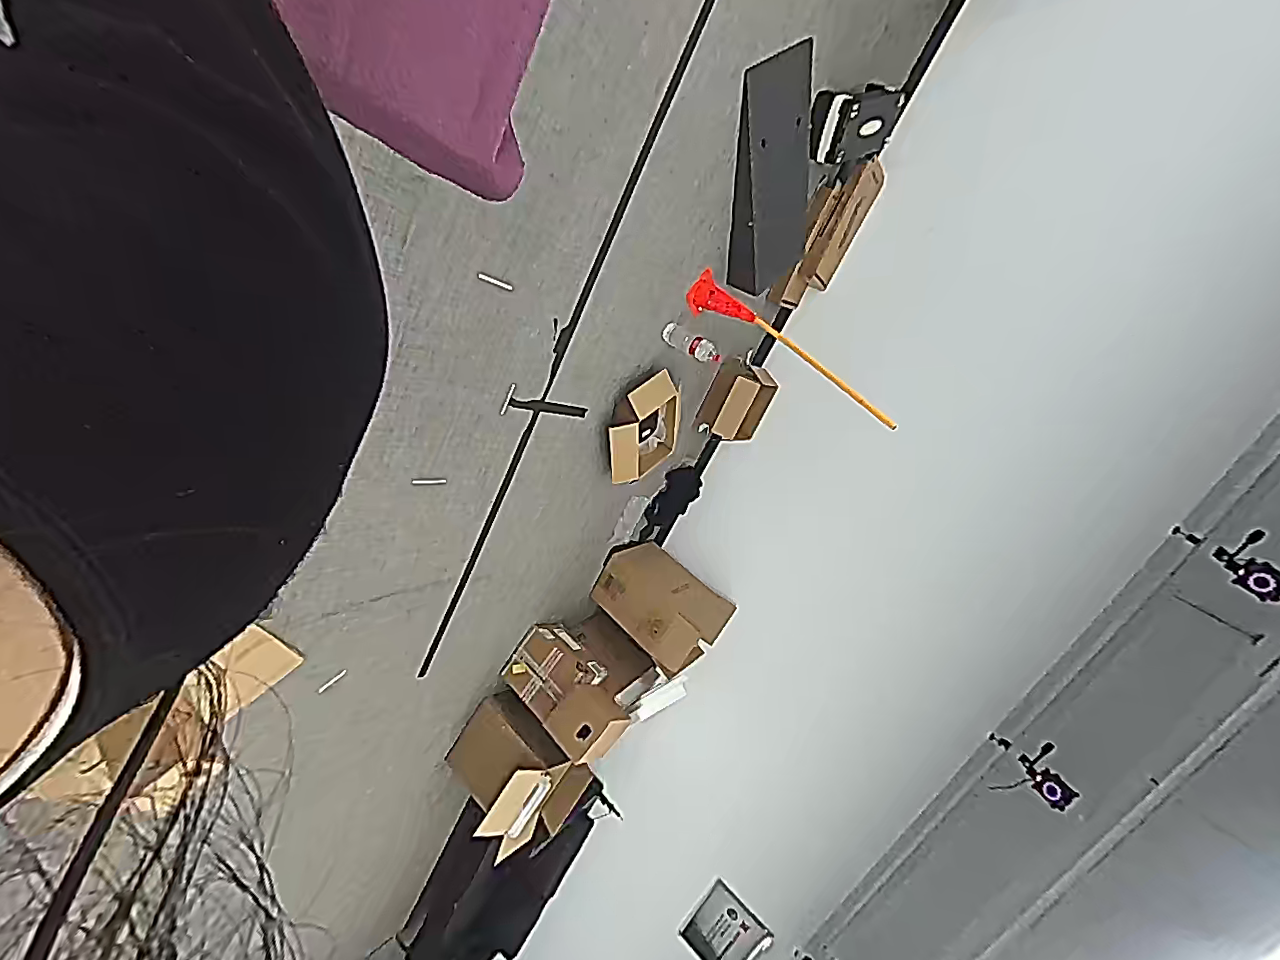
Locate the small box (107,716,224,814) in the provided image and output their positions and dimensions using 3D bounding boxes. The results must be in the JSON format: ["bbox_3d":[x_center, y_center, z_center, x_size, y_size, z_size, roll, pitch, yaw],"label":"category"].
[{"bbox_3d":[-1.365,0.817,1.555,0.179,0.176,0.168,-40,151,-24],"label":"small box"}]

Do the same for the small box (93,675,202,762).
[{"bbox_3d":[-1.485,0.728,1.627,0.179,0.176,0.168,-40,151,-23],"label":"small box"}]
